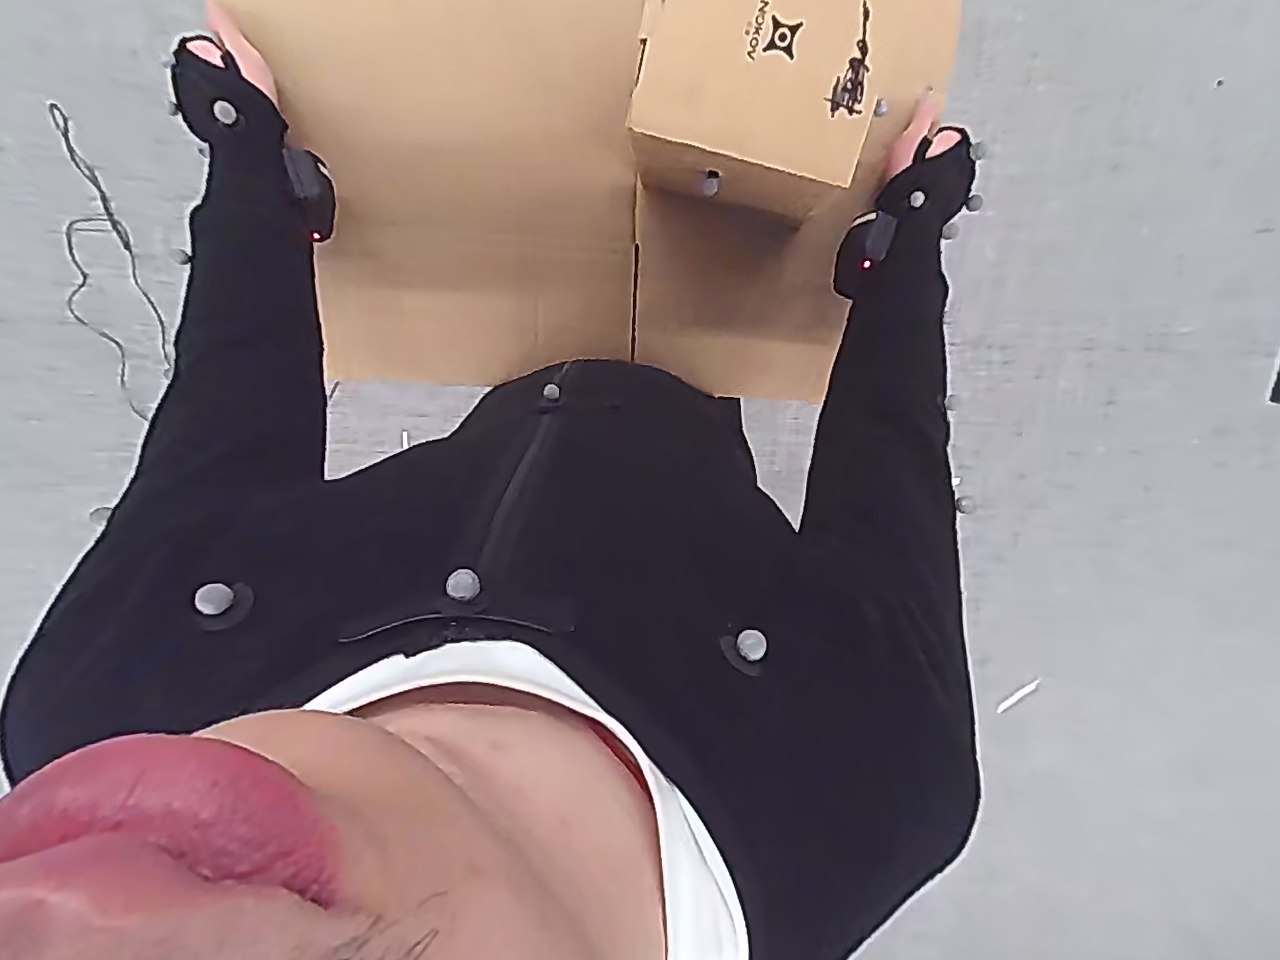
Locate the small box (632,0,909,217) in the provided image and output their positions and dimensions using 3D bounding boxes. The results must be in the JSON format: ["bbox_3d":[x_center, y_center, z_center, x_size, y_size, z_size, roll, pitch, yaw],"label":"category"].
[{"bbox_3d":[0.104,-0.345,0.468,0.179,0.176,0.168,15,107,1],"label":"small box"}]
